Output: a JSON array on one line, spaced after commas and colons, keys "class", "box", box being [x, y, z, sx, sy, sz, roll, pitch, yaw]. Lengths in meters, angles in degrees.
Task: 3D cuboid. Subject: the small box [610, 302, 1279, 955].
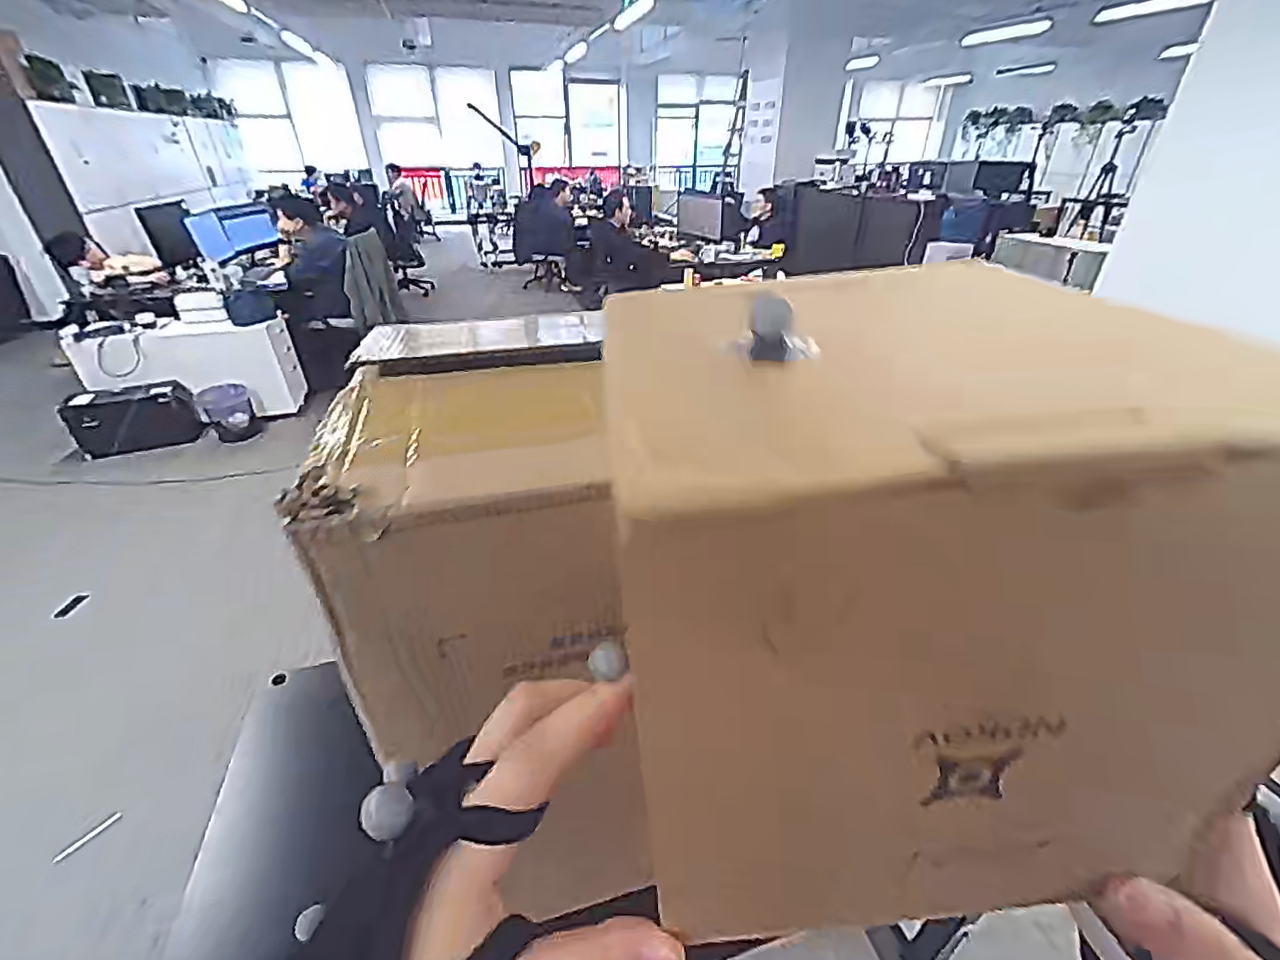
[{"class": "small box", "box": [0.077, 0.037, 0.208, 0.168, 0.179, 0.176, -5, 32, -1]}]
